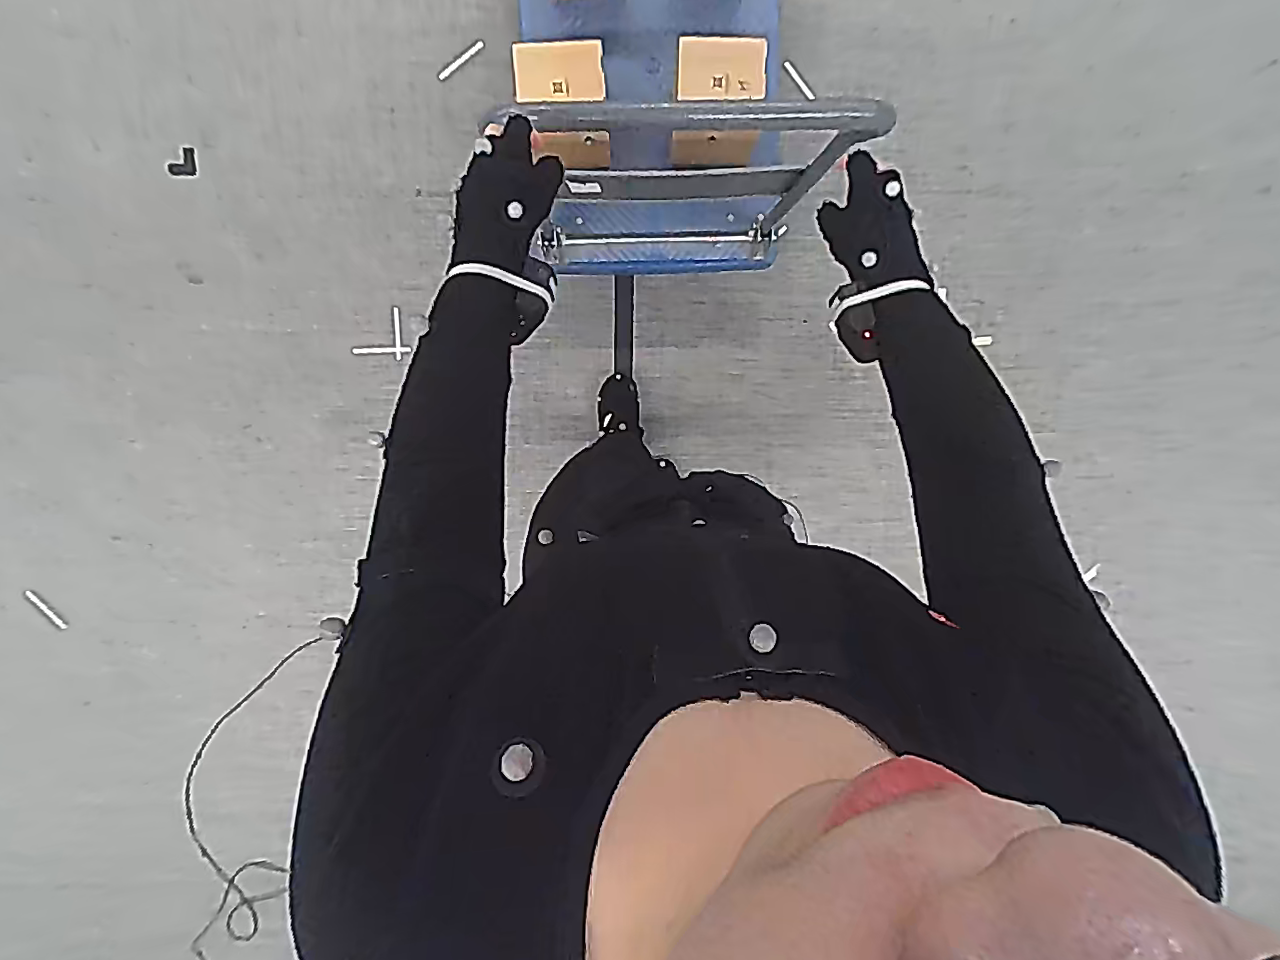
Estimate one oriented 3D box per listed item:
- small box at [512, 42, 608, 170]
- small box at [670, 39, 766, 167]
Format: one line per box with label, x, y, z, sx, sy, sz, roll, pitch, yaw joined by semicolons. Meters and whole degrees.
small box;-0.160;-0.772;1.134;0.179;0.176;0.168;-5;97;-2
small box;0.156;-0.784;1.139;0.179;0.176;0.168;1;98;-1
